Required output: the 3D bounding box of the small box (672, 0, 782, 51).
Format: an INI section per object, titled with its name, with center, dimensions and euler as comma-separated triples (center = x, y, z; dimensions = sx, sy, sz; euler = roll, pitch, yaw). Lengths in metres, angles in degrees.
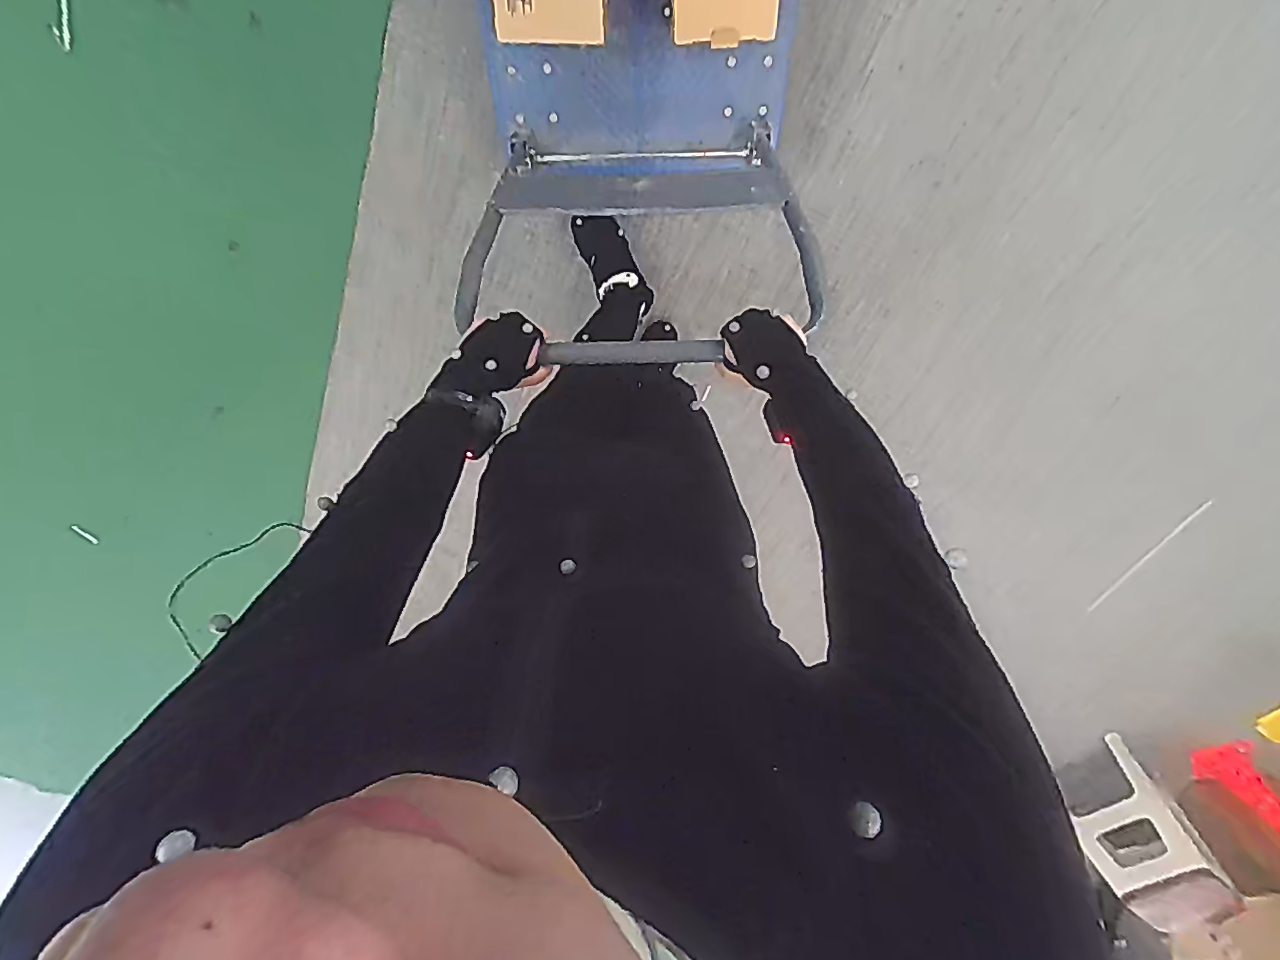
[small box]
center = 0.137, -0.816, 0.872
dimensions = 0.168, 0.176, 0.179
euler = -1, 136, 2
